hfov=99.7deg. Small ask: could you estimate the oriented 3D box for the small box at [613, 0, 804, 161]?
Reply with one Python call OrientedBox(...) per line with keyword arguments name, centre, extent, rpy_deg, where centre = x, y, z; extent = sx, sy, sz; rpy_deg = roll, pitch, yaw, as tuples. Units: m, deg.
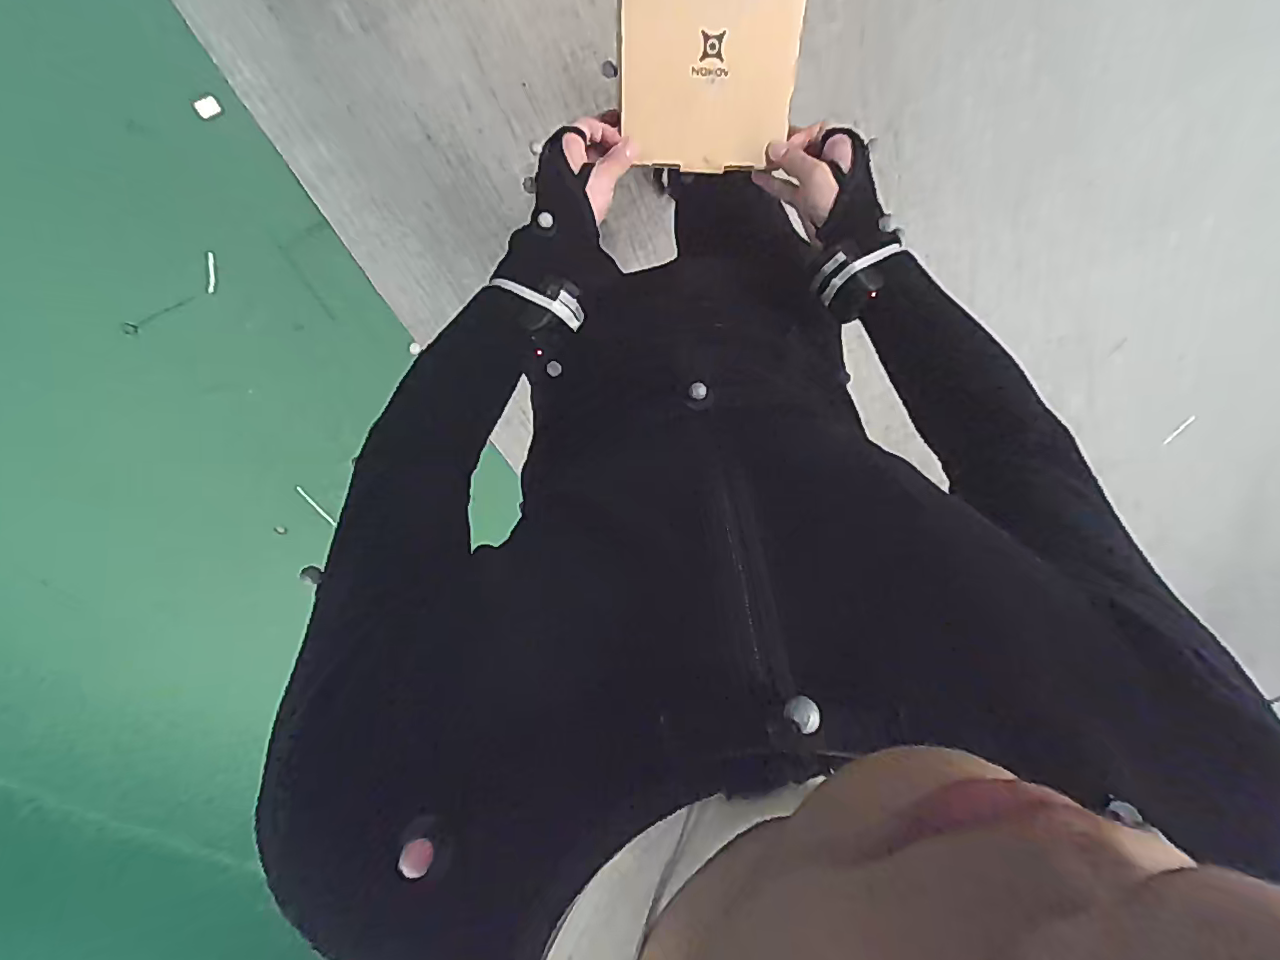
OrientedBox(name="small box", centre=(0.058, -0.439, 0.558), extent=(0.168, 0.176, 0.179), rpy_deg=(0, 123, -5))
